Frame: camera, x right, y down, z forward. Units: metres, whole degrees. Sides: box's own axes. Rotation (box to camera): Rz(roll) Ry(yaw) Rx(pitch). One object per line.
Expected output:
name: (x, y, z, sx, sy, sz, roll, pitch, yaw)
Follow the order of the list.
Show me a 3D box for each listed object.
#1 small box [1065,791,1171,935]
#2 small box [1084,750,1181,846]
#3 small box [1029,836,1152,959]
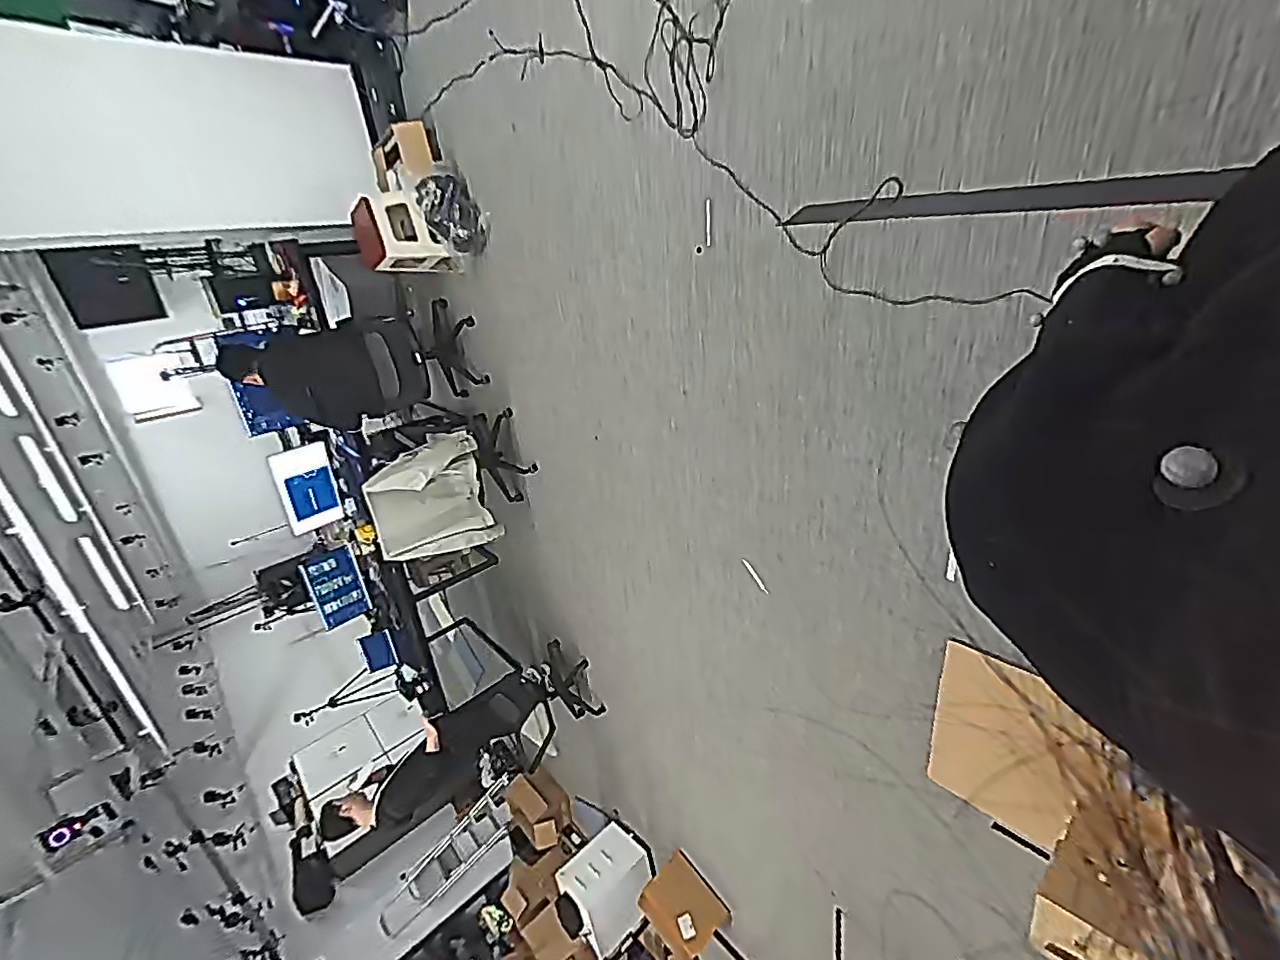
small box: (1.108, 0.887, 1.267, 0.168, 0.176, 0.179, 15, 122, 47)
small box: (1.228, 0.828, 1.362, 0.168, 0.176, 0.179, 17, 122, 46)
small box: (0.980, 0.940, 1.177, 0.168, 0.176, 0.179, 15, 121, 47)
